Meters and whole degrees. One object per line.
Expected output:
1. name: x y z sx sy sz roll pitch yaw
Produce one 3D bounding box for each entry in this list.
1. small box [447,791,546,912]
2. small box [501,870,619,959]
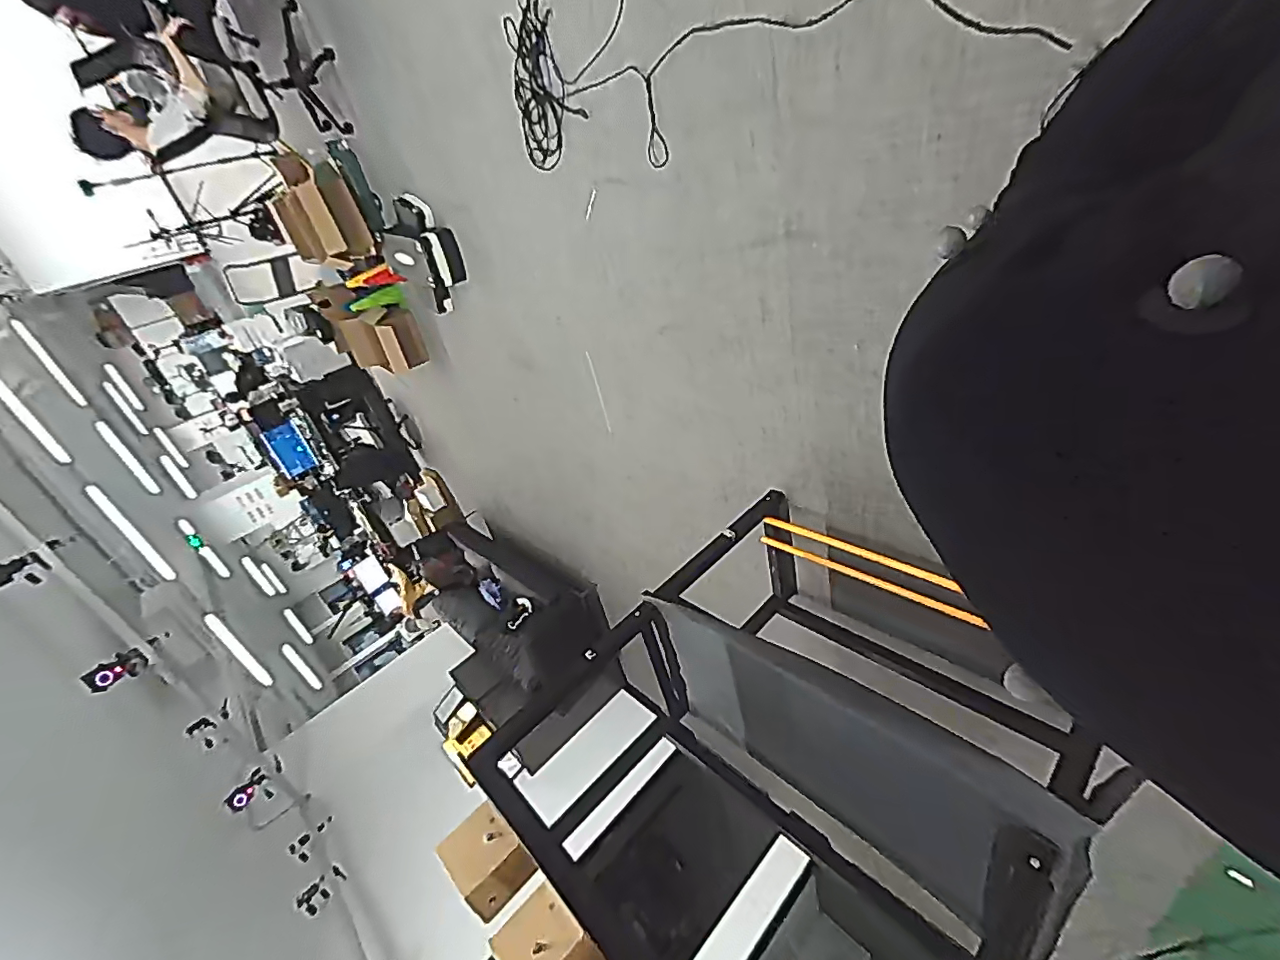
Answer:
1. small box: -0.371 0.973 1.426 0.168 0.176 0.179 24 139 41
2. small box: -0.176 1.038 1.217 0.168 0.176 0.179 15 134 49
